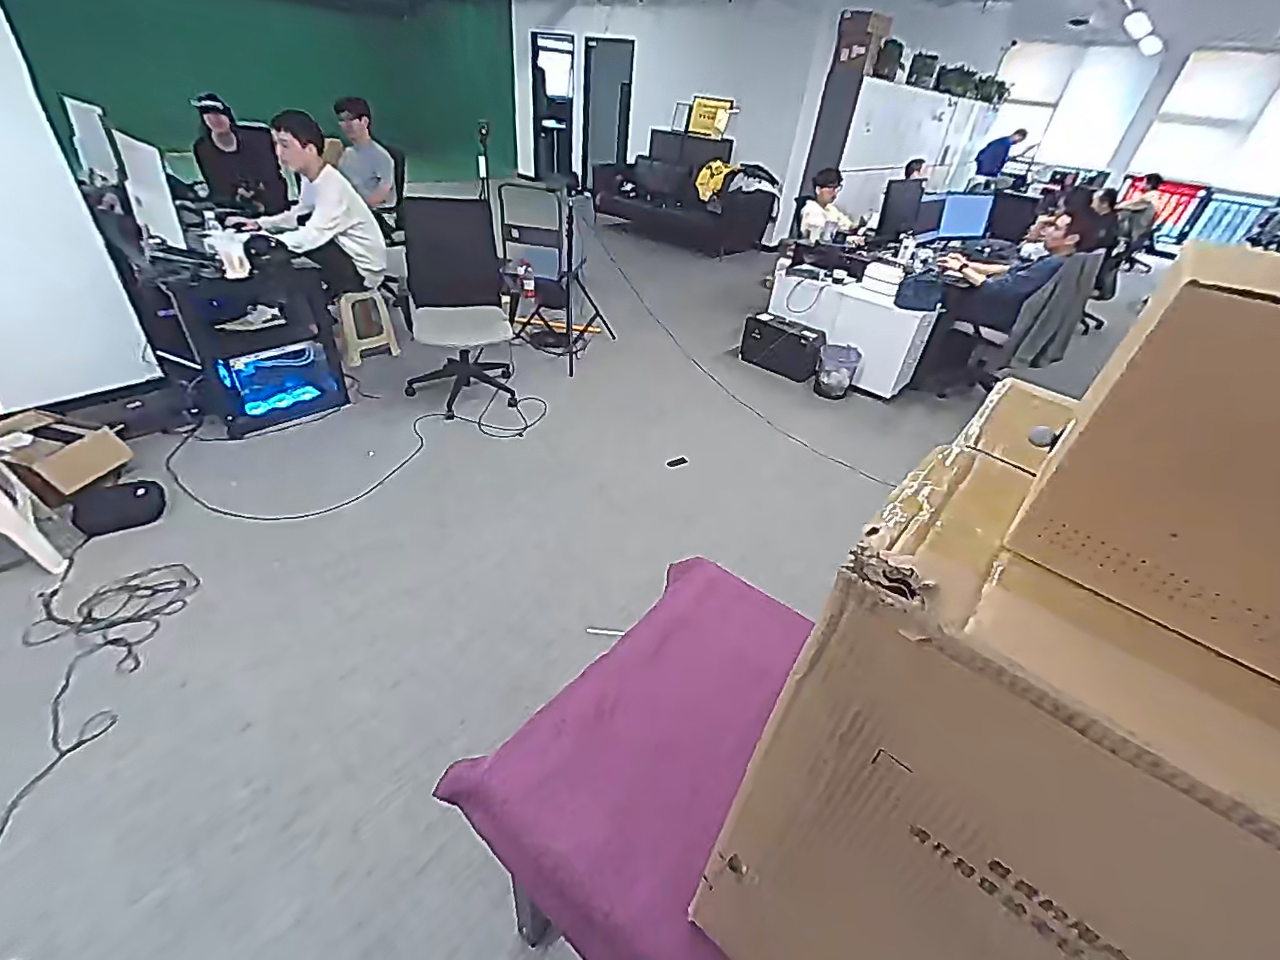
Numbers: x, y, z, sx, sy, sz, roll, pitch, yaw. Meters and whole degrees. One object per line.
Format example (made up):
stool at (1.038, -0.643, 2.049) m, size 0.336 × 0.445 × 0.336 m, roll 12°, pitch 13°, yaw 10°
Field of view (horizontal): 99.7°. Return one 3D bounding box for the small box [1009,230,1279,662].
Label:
small box at (0.351, -0.021, 0.297) m, size 0.179 × 0.176 × 0.168 m, roll 31°, pitch 42°, yaw 29°
